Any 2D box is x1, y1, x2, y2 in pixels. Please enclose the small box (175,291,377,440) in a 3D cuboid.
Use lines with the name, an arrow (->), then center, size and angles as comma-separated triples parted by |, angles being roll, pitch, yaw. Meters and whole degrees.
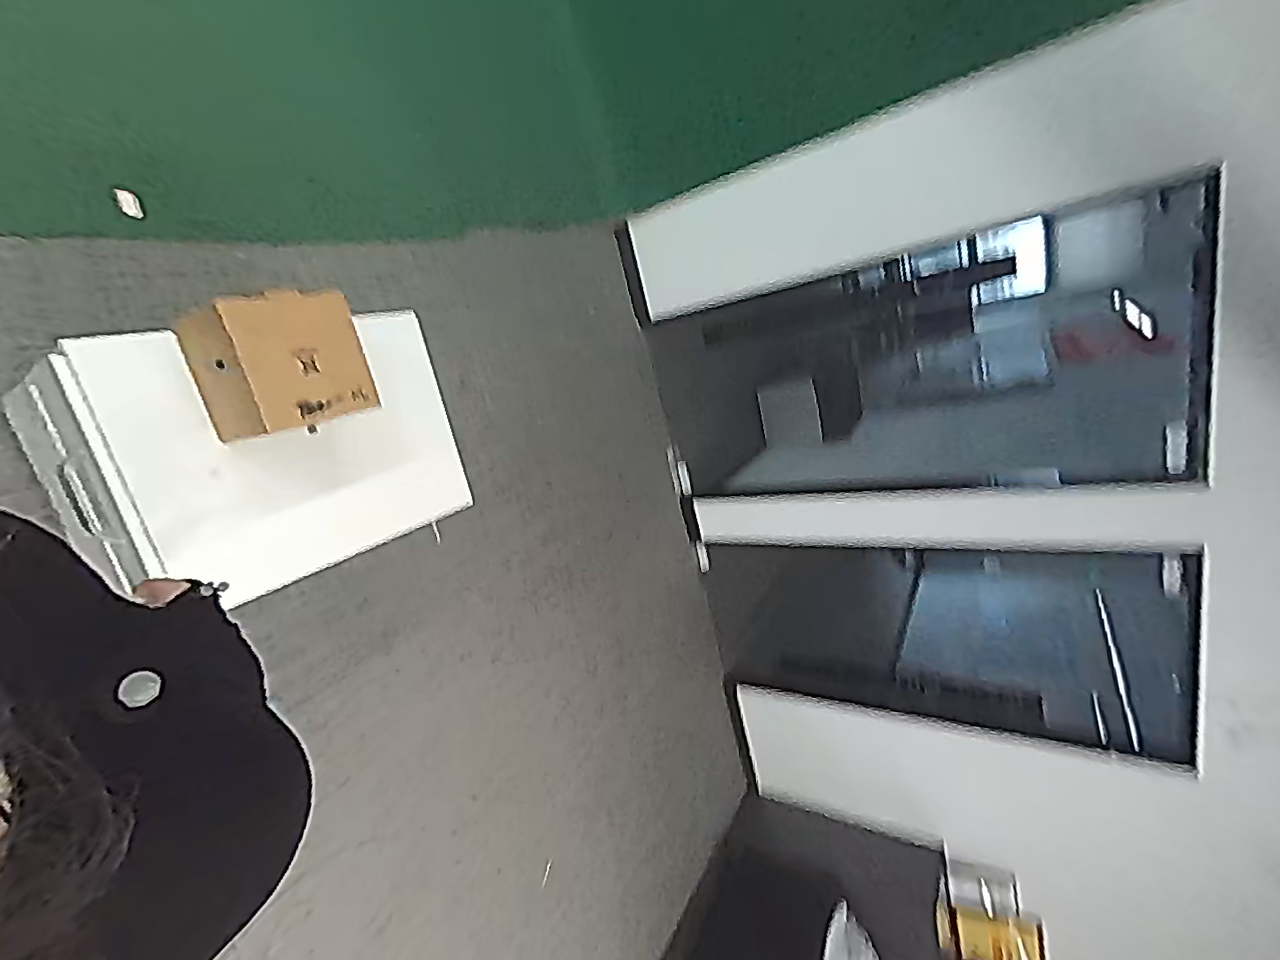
small box -> -0.530, -0.166, 0.790 | 0.168, 0.176, 0.179 | -32, 114, -51
